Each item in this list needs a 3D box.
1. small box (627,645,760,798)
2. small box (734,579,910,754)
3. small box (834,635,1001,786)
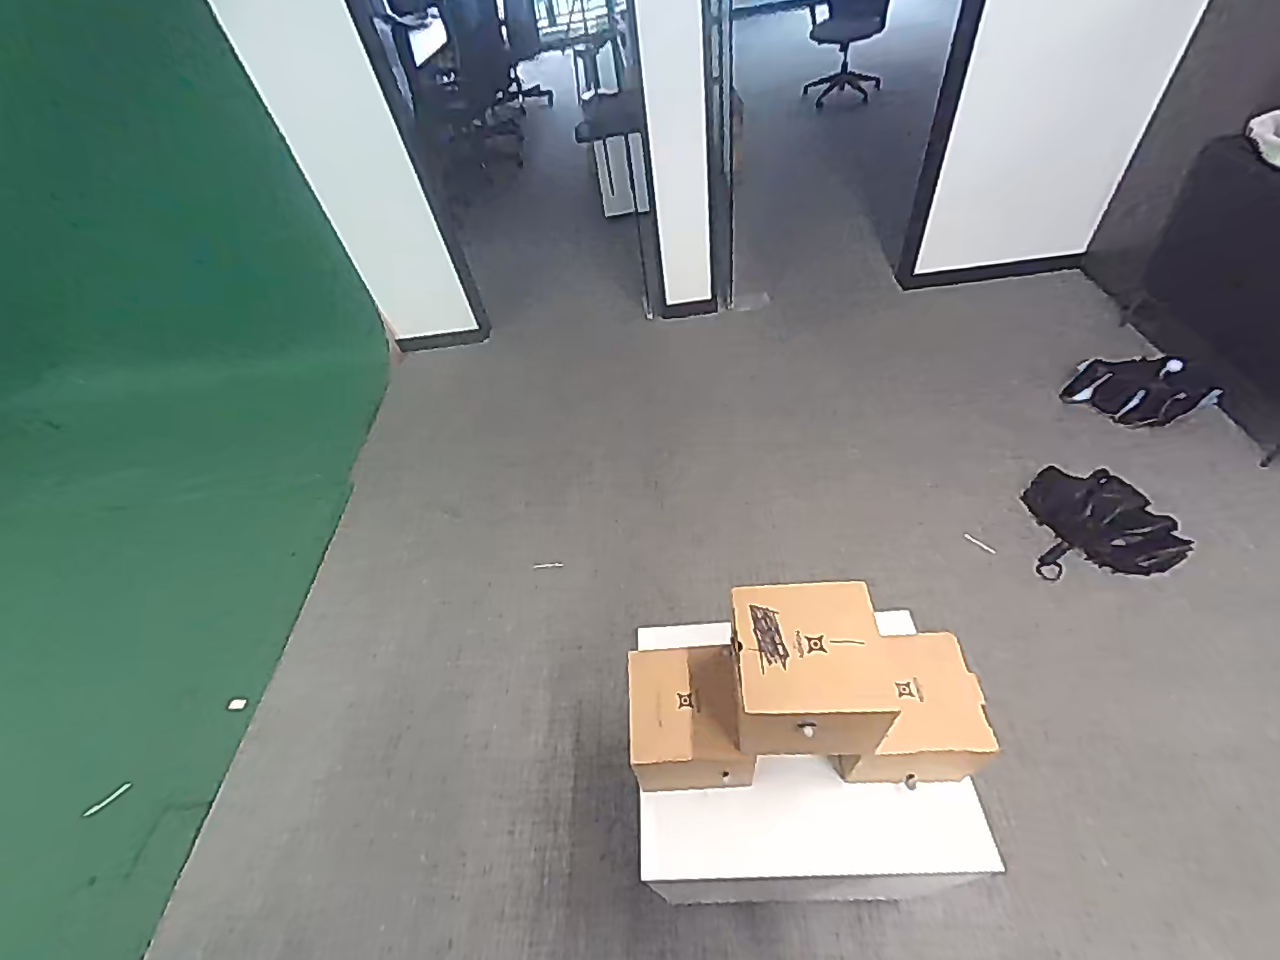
[{"bbox_3d":[0.074,0.370,0.825,0.179,0.176,0.168,-6,46,1],"label":"small box"},{"bbox_3d":[0.216,0.245,0.701,0.179,0.176,0.168,-3,48,4],"label":"small box"},{"bbox_3d":[0.386,0.348,0.811,0.179,0.176,0.168,-4,48,4],"label":"small box"}]
